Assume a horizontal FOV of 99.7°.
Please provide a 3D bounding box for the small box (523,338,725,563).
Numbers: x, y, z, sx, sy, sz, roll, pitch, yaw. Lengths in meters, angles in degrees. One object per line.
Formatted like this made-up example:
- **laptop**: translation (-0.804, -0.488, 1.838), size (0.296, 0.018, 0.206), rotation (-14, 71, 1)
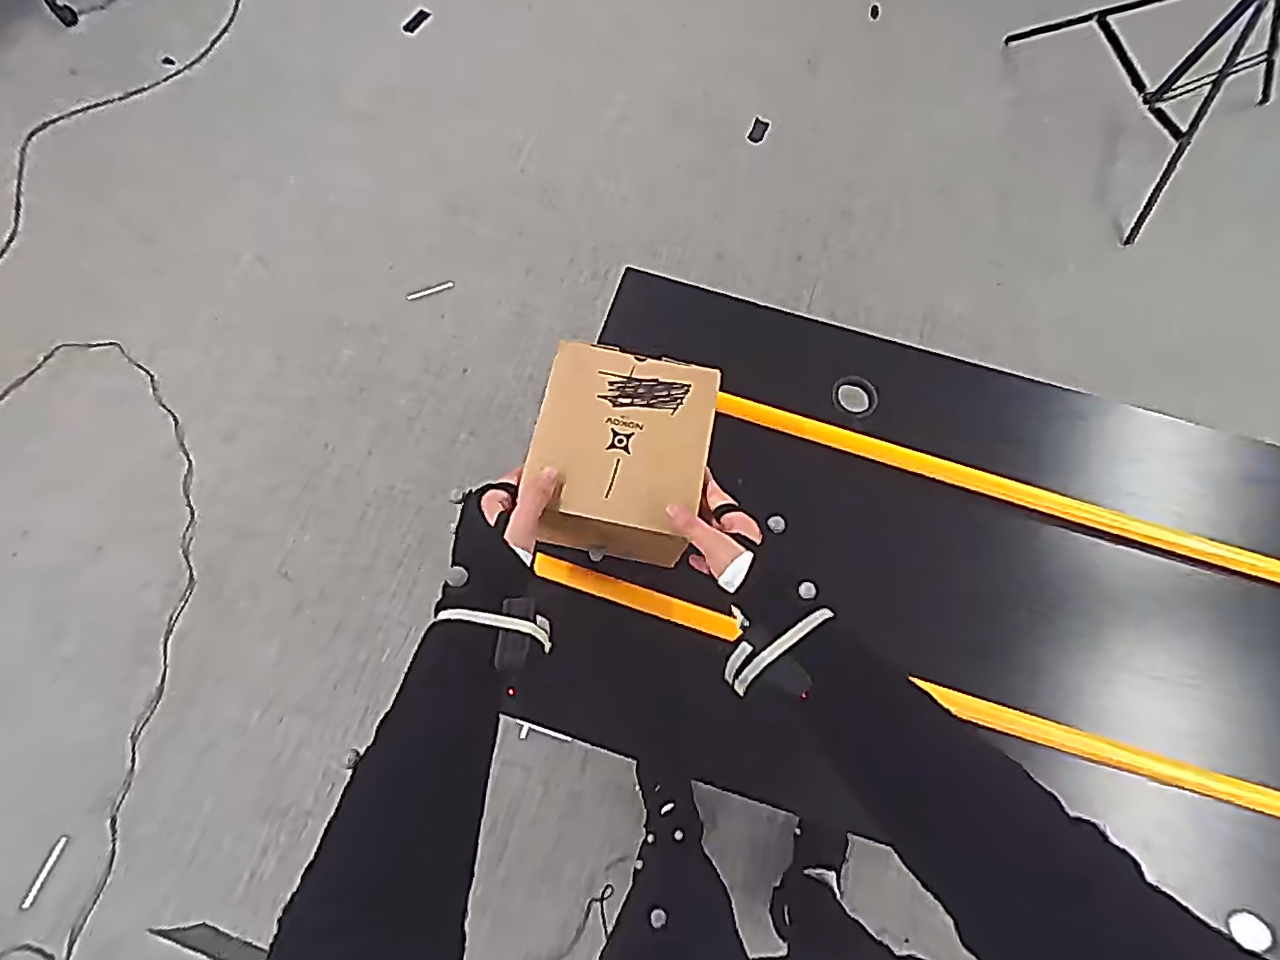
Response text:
- **small box**: translation (-0.017, -0.021, 0.586), size (0.168, 0.176, 0.179), rotation (12, 73, 0)
